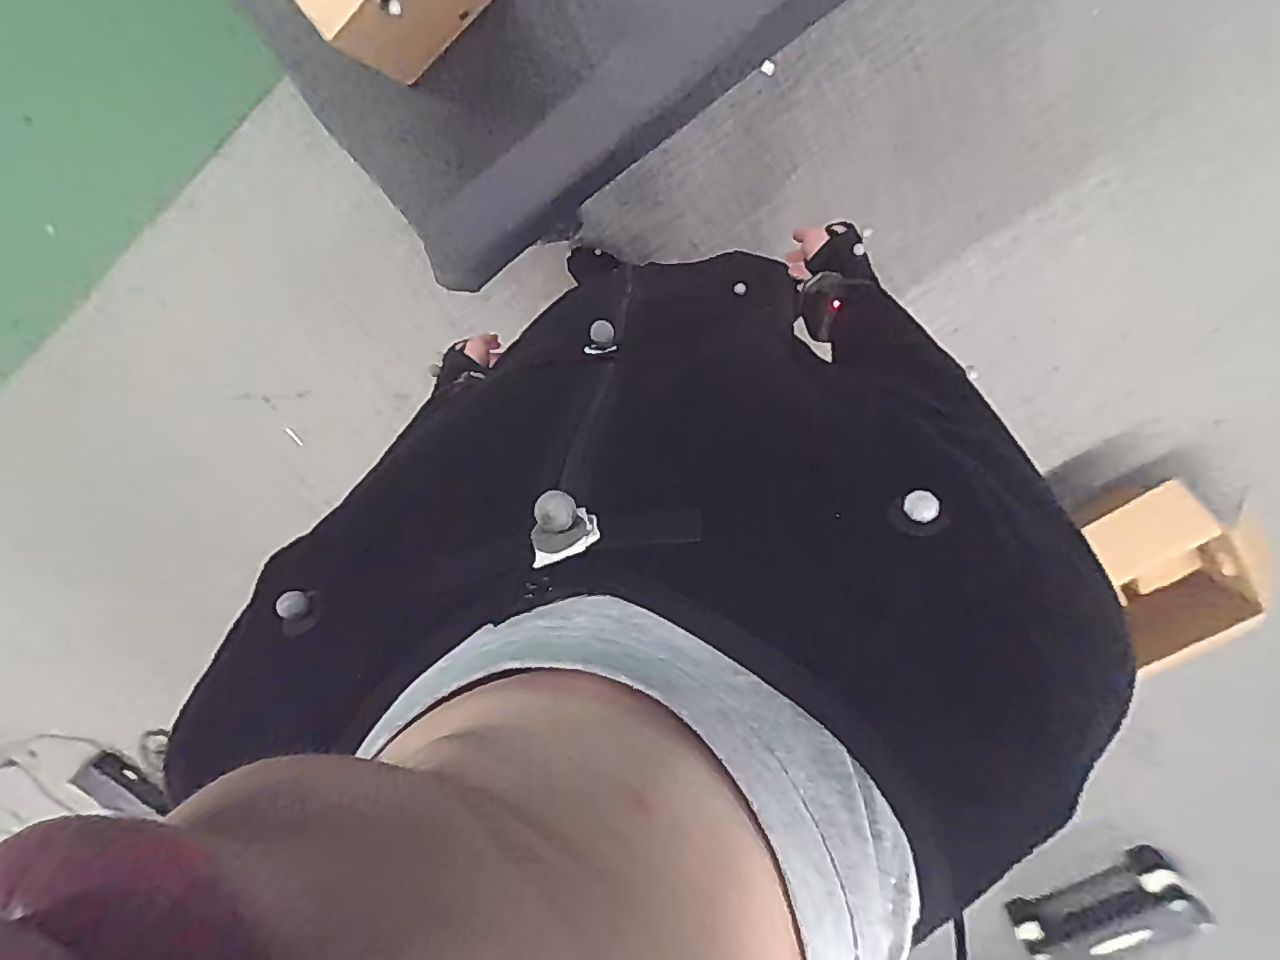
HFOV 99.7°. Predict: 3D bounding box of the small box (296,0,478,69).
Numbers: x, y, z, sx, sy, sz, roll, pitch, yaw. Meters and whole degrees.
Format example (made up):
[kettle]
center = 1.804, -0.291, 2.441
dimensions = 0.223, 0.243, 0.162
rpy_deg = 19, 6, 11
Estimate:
[small box]
center = -0.266, -0.540, 0.506
dimensions = 0.168, 0.176, 0.179
rpy_deg = -33, 109, 18
